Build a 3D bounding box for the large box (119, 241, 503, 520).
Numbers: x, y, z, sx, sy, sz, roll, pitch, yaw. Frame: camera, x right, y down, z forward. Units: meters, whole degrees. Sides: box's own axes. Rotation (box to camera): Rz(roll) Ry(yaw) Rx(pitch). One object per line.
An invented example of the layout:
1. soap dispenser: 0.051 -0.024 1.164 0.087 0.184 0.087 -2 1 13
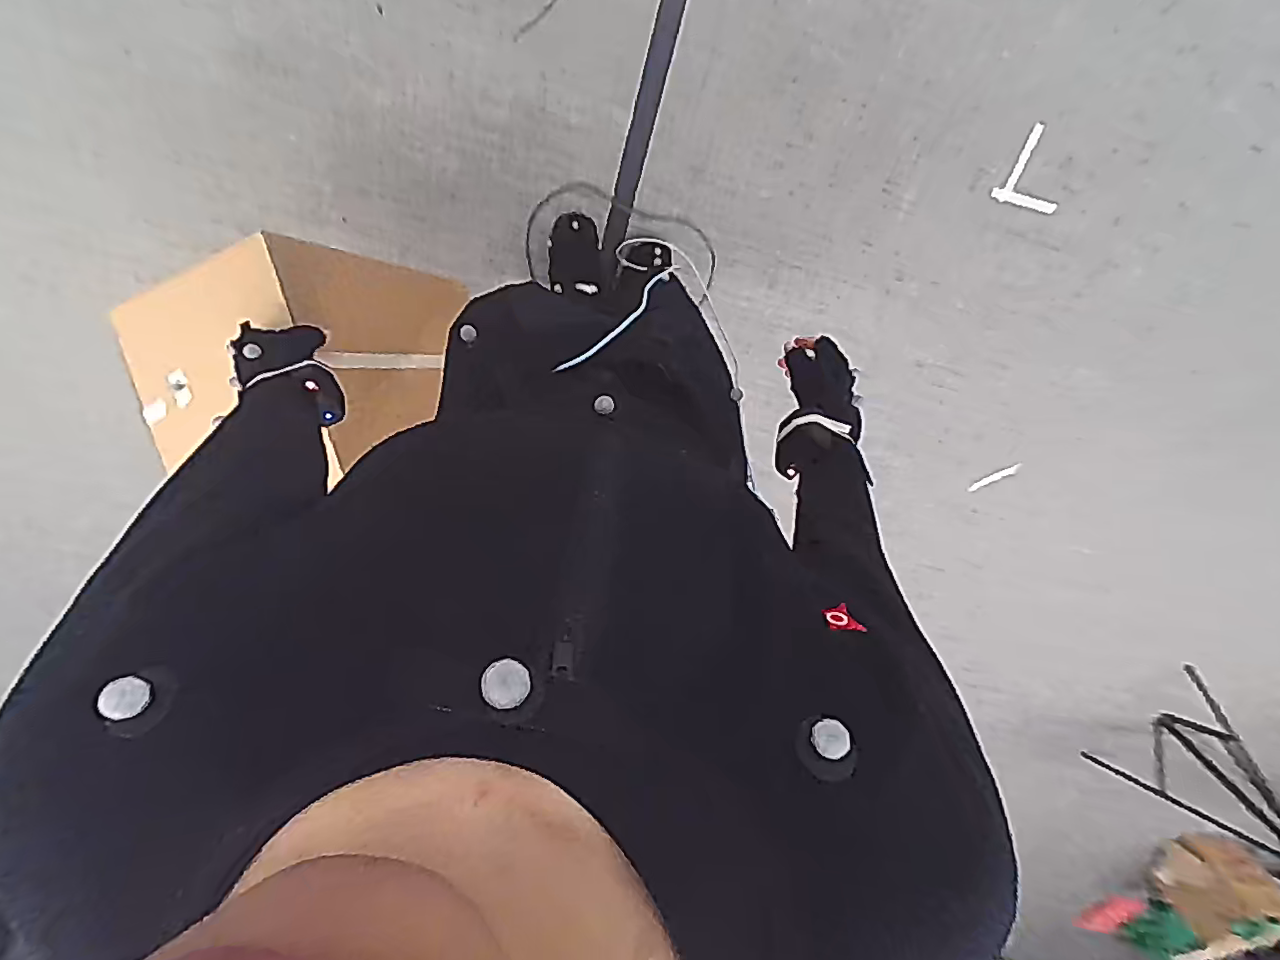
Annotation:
1. large box: -0.503 -0.155 0.910 0.320 0.408 0.320 -13 97 19
